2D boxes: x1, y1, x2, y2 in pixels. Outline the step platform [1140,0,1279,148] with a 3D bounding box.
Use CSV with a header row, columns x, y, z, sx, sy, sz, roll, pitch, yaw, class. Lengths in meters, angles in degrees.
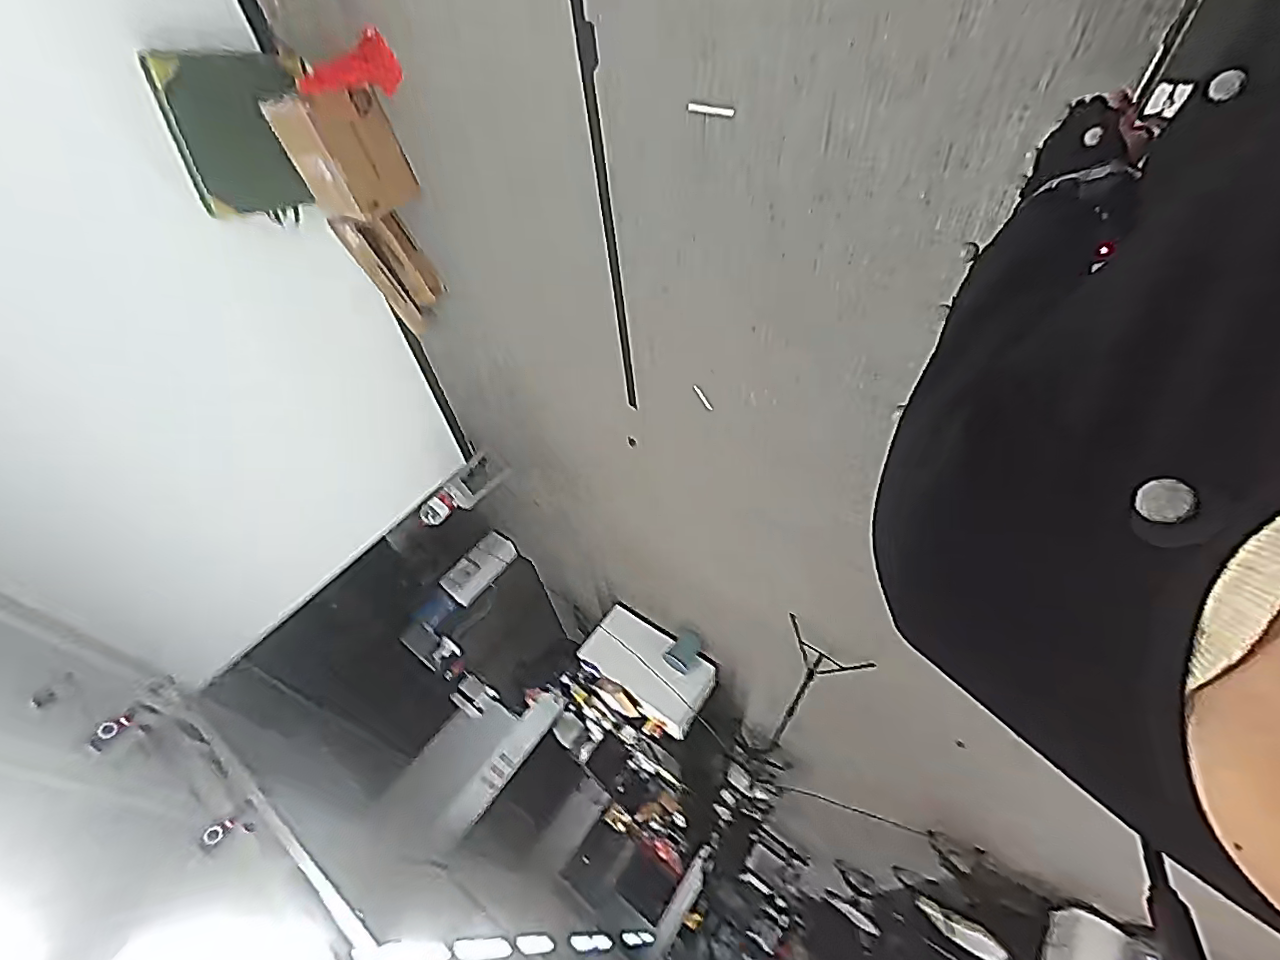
x,y,z,sx,sy,sz,roll,pitch,yaw,class
0.989,-0.804,0.655,0.286,0.204,0.684,30,147,23,step platform
